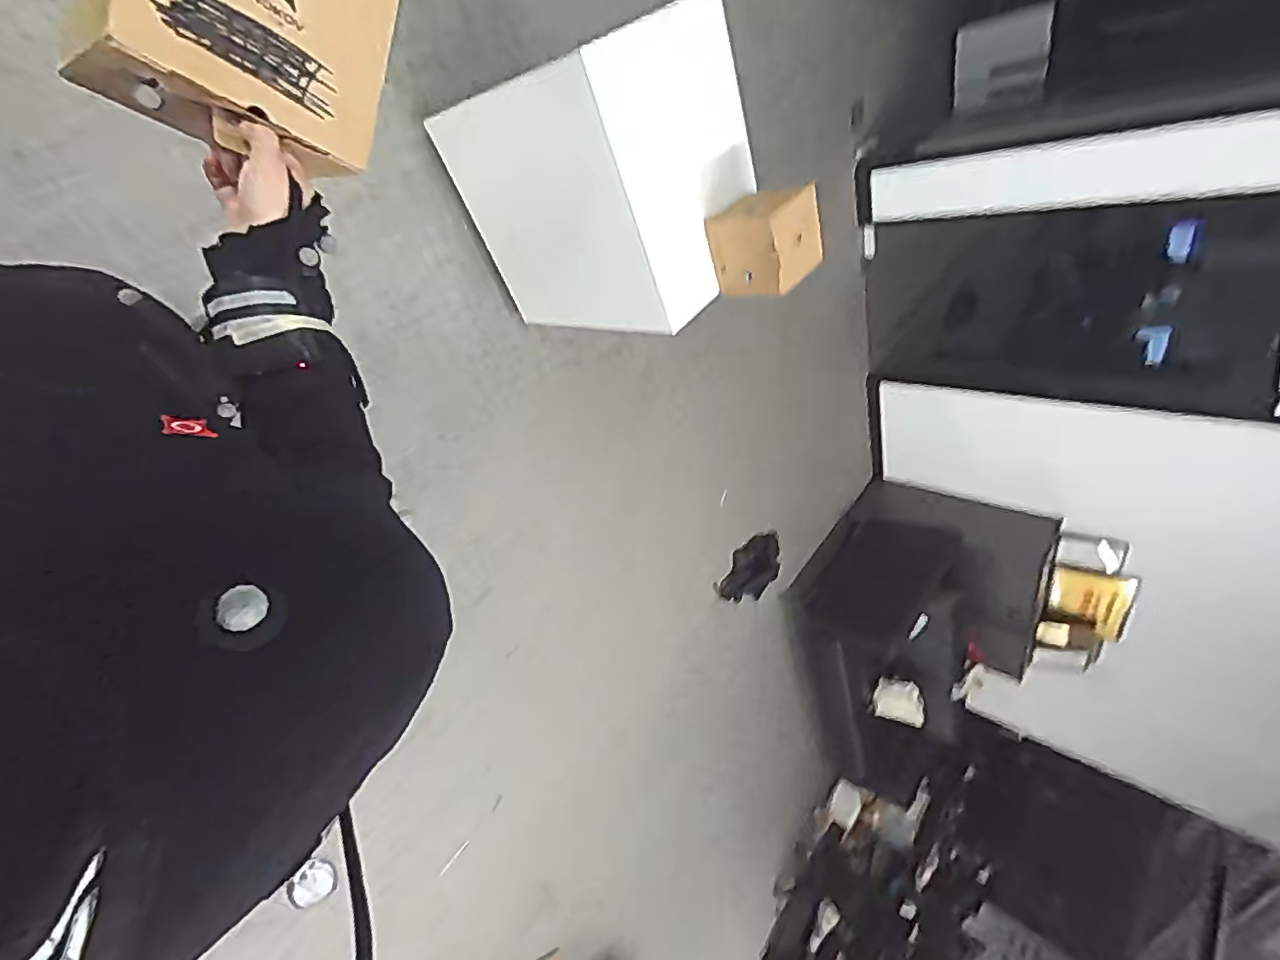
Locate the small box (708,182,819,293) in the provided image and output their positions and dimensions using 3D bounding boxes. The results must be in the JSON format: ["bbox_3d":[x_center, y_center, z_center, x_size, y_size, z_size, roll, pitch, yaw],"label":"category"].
[{"bbox_3d":[0.264,-0.520,1.174,0.179,0.176,0.168,-46,133,-27],"label":"small box"}]
